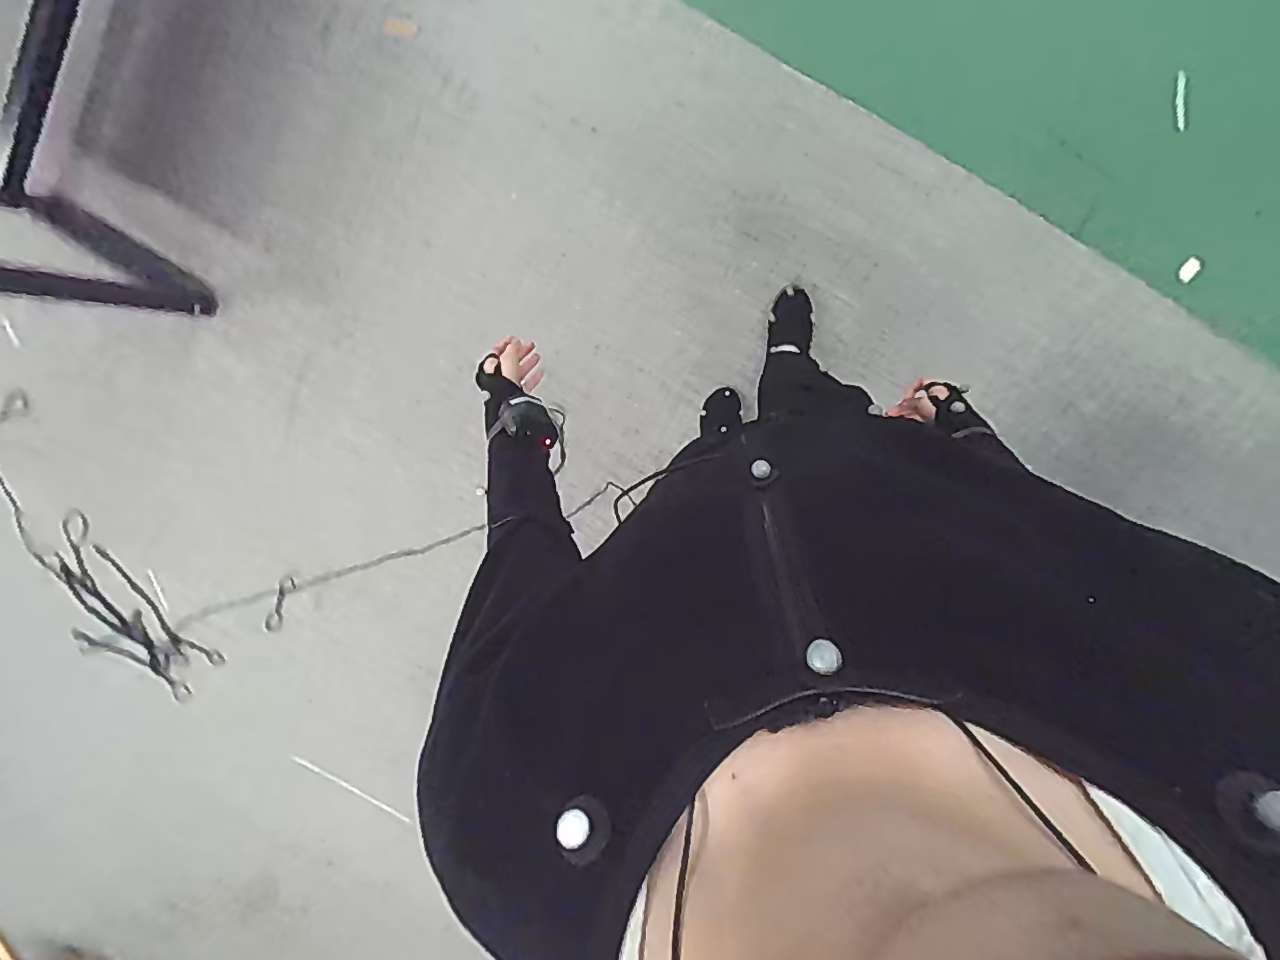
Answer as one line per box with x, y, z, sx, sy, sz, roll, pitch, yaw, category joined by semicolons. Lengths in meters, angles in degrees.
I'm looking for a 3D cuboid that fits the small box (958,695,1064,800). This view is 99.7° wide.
0.764;0.548;1.043;0.179;0.176;0.168;43;101;-3;small box
